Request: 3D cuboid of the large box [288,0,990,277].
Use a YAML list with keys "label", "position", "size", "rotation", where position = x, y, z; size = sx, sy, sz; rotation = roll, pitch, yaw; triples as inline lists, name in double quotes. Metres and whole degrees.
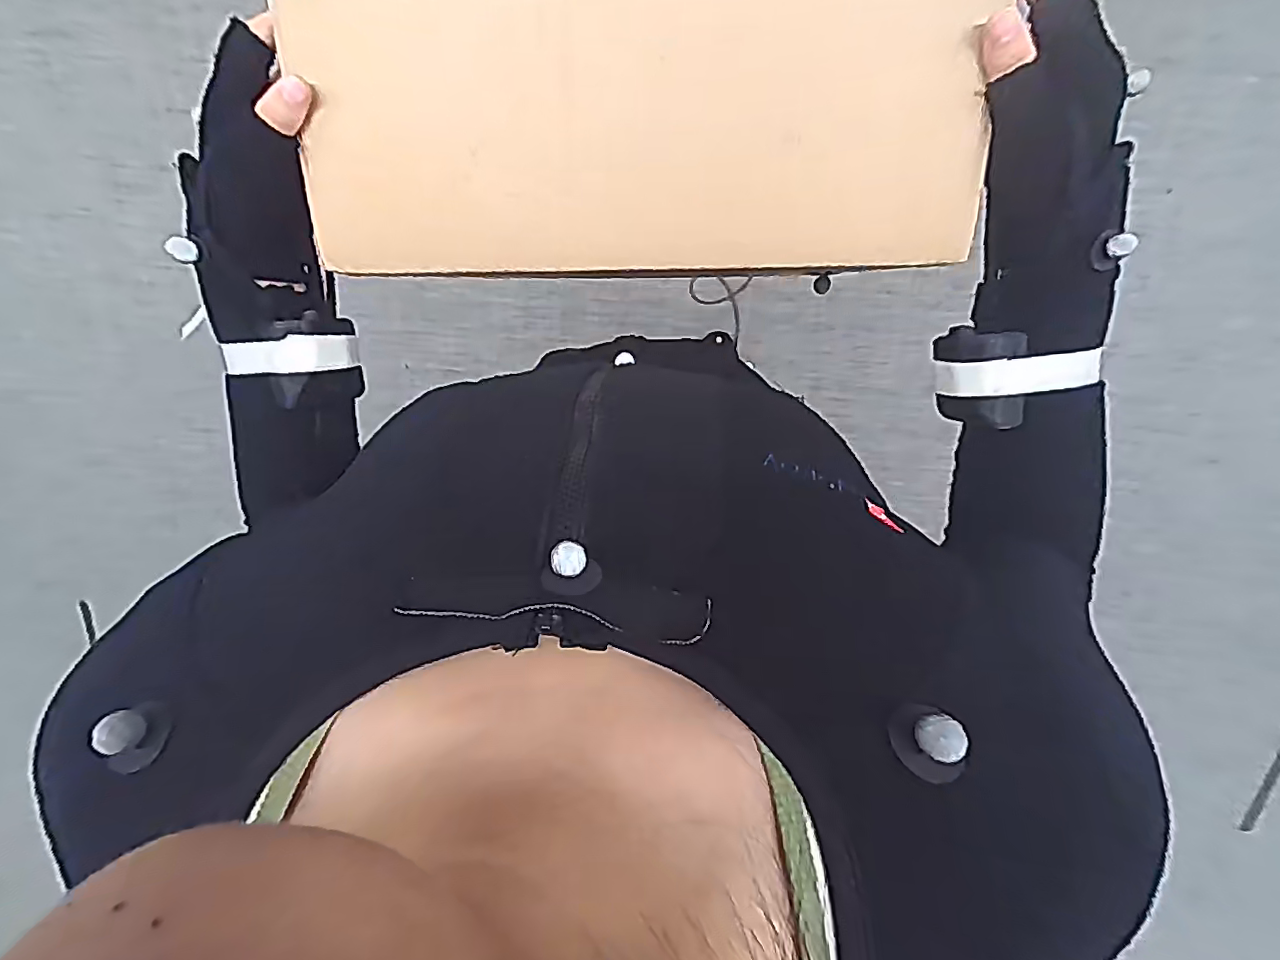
- label: "large box"
  position: [0.003, -0.336, 0.438]
  size: [0.408, 0.320, 0.320]
  rotation: [0, 110, 2]
